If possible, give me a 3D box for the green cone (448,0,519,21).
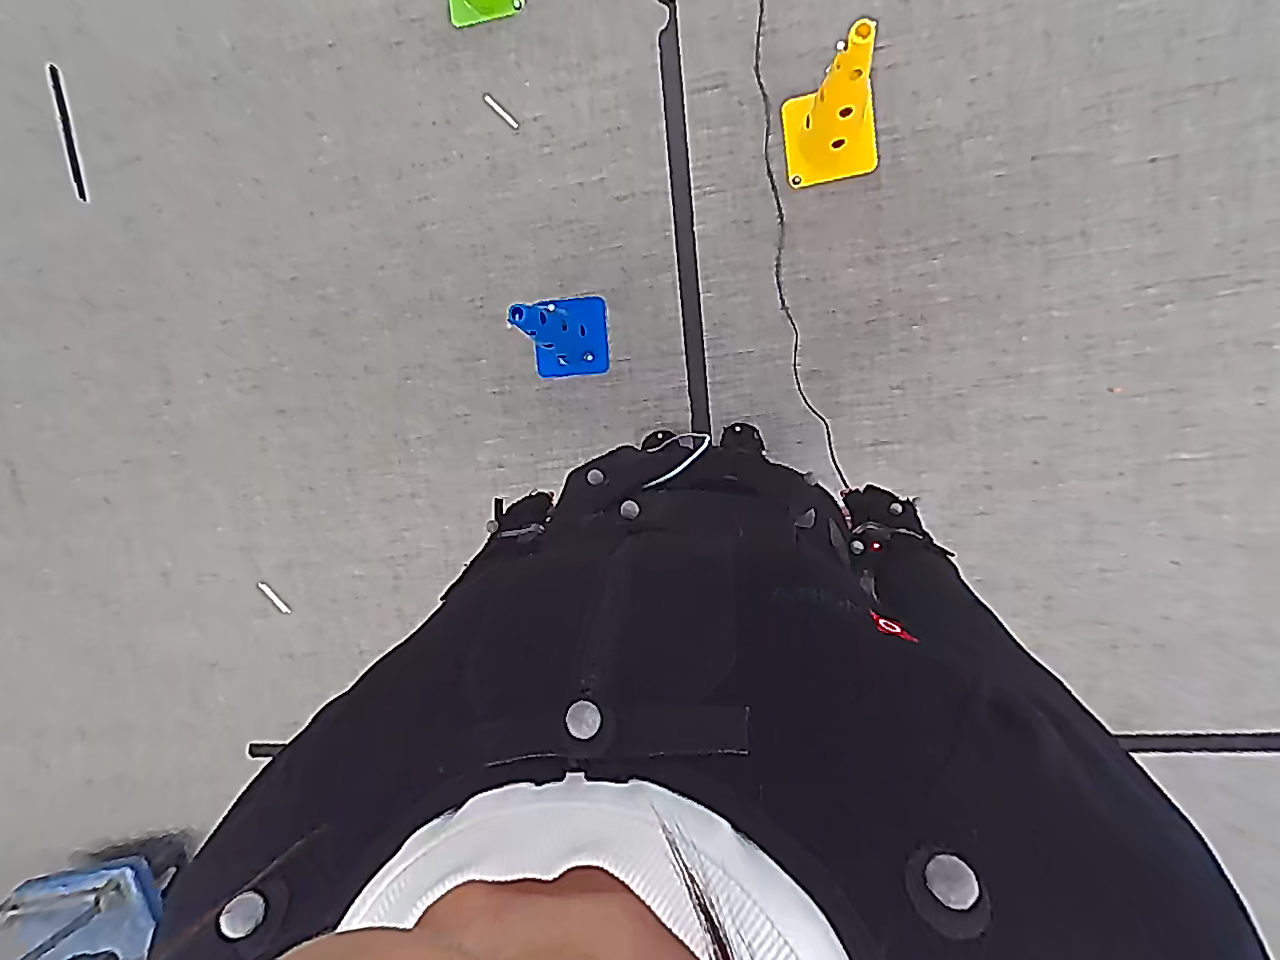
[{"bbox_3d":[-0.430,-1.254,1.183,0.202,0.368,0.200,-4,96,12],"label":"green cone"}]

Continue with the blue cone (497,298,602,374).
[{"bbox_3d":[-0.227,-0.362,1.275,0.192,0.380,0.193,-1,97,12],"label":"blue cone"}]
